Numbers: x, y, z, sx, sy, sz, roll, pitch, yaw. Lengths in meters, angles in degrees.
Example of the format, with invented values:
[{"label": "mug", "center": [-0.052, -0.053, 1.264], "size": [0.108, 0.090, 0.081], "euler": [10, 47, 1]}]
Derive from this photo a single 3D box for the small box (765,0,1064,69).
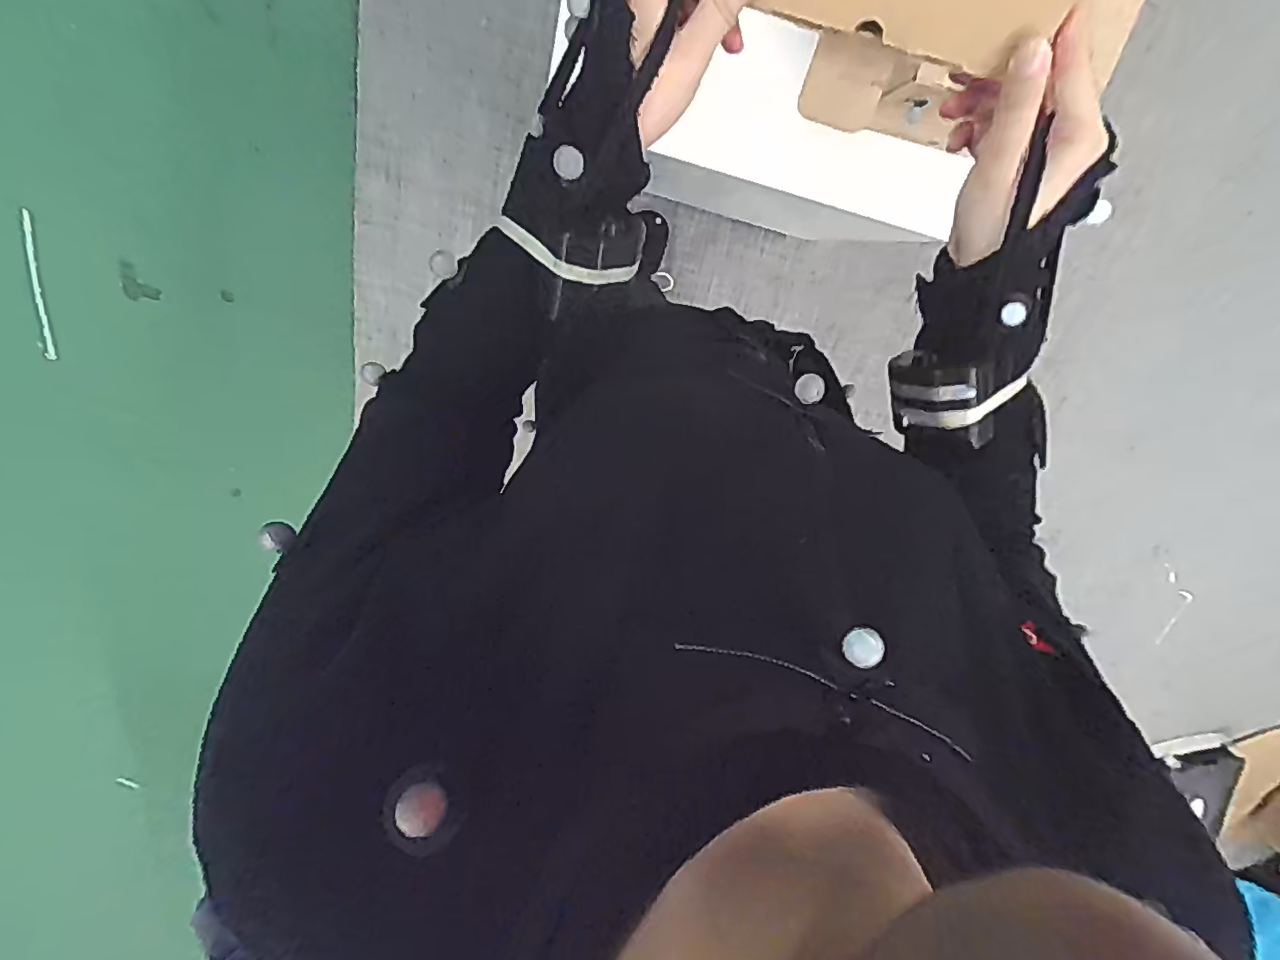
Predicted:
[{"label": "small box", "center": [0.144, -0.338, 0.236], "size": [0.168, 0.176, 0.179], "euler": [16, 154, 0]}]
